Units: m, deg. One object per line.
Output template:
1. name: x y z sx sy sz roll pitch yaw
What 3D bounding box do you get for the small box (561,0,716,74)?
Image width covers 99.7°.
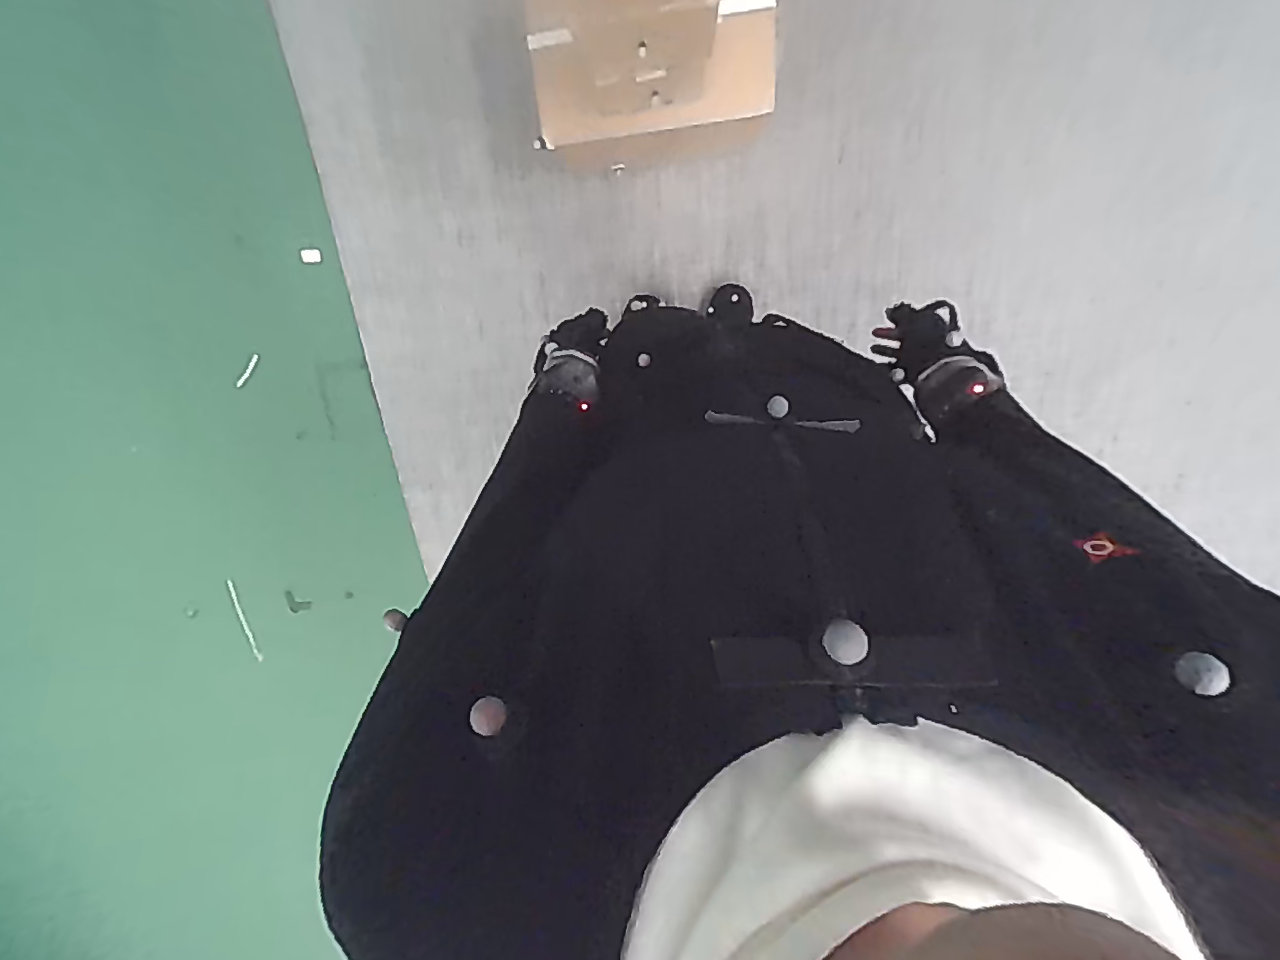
1. small box: -0.004 -0.629 0.658 0.179 0.176 0.168 -4 110 7

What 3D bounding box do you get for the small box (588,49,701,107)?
1. small box: 0.001 -0.688 0.812 0.168 0.176 0.179 -8 111 8
